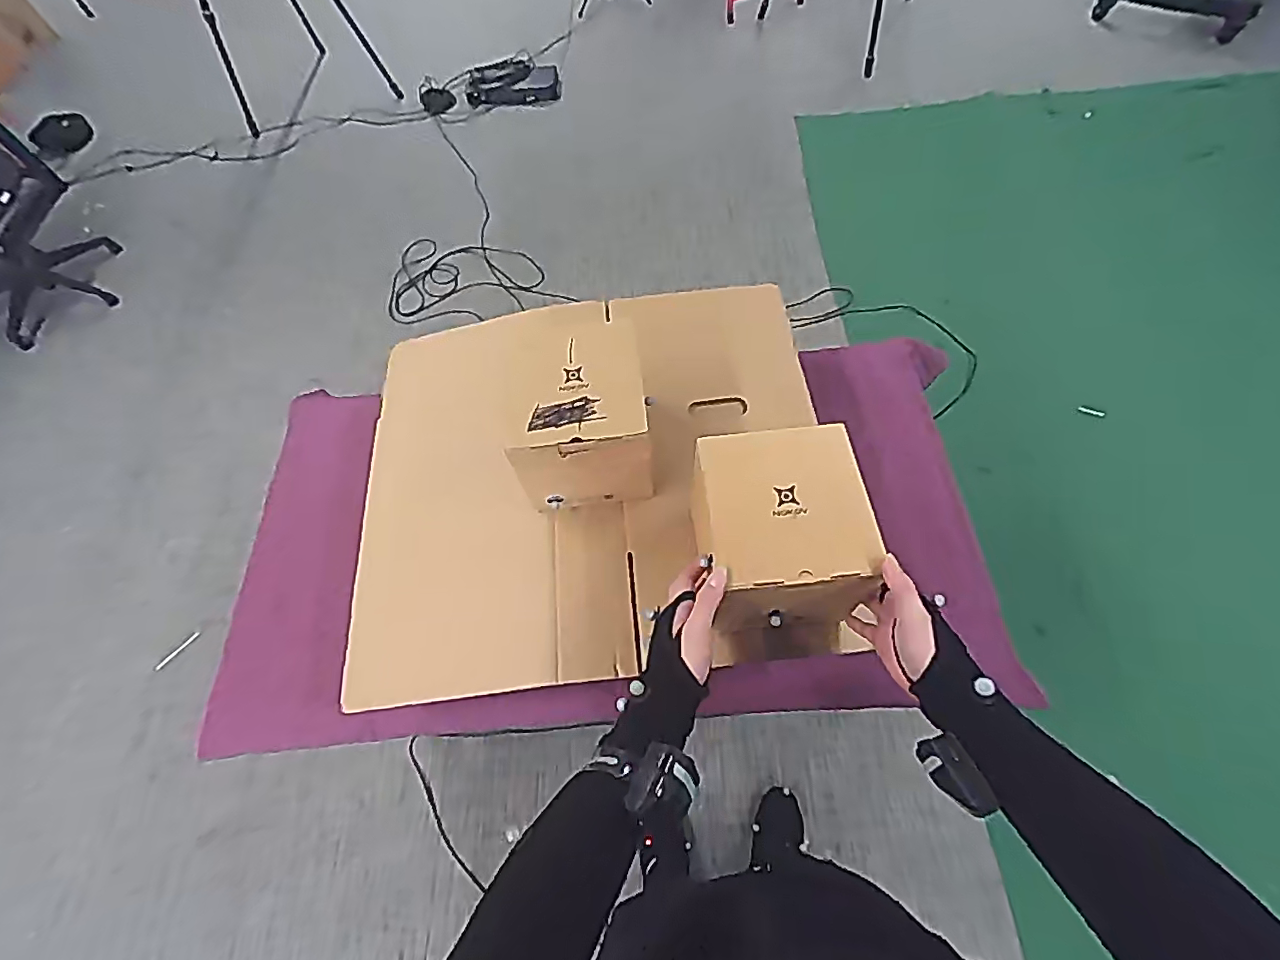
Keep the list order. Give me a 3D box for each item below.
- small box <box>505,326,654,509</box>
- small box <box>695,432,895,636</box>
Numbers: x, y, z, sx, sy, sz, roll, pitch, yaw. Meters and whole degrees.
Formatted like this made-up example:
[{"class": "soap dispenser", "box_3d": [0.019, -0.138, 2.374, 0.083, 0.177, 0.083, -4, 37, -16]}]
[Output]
[{"class": "small box", "box_3d": [-0.073, -0.071, 0.707, 0.168, 0.176, 0.179, -6, 61, 0]}, {"class": "small box", "box_3d": [0.157, 0.067, 0.621, 0.168, 0.176, 0.179, -6, 62, 0]}]
